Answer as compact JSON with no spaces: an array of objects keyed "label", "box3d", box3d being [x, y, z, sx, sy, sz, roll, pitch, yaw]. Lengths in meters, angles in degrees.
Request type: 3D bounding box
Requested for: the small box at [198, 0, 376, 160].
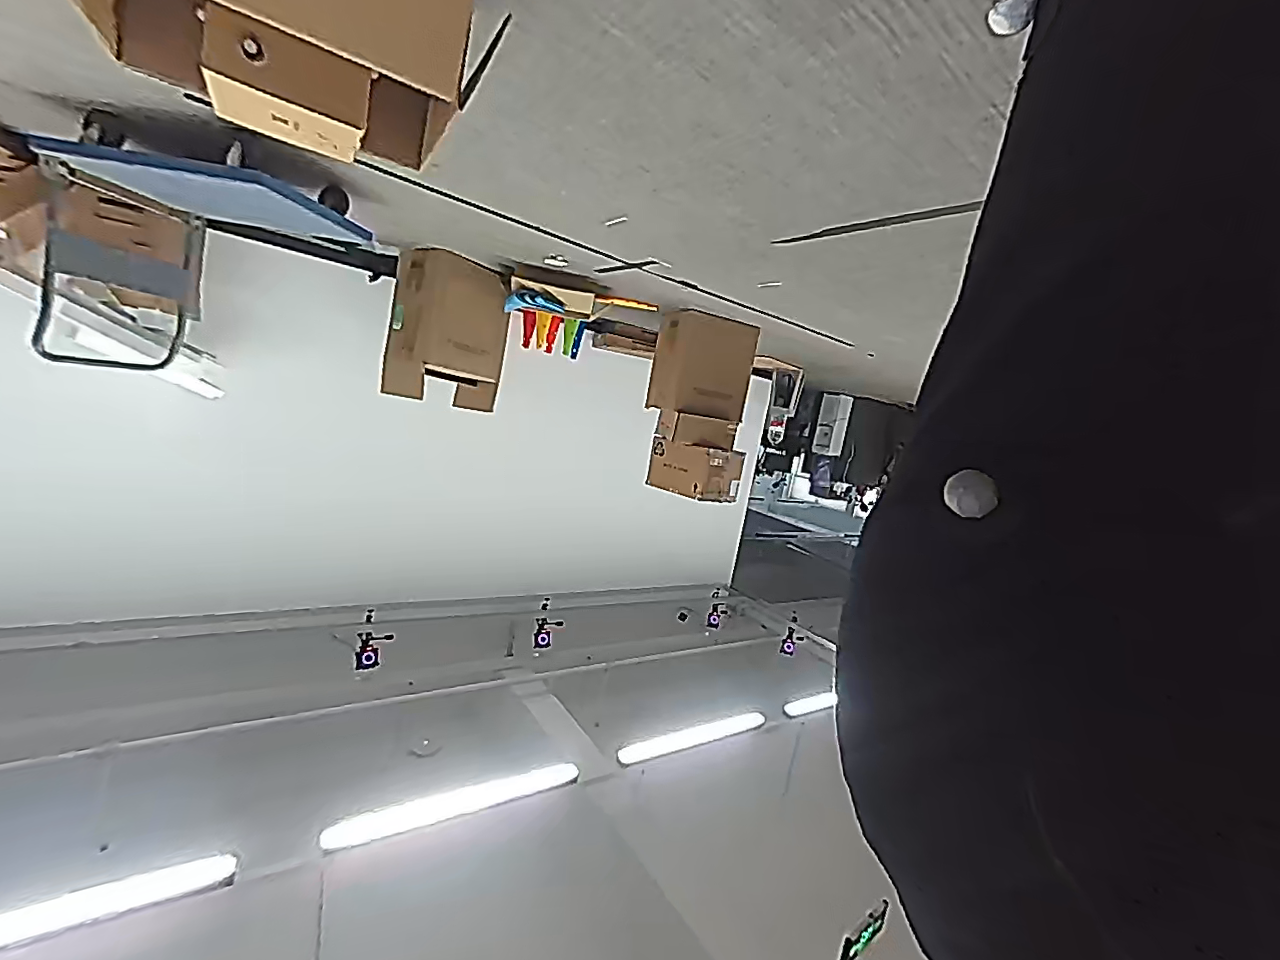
[{"label":"small box","box3d":[-0.473,-0.577,0.733,0.179,0.176,0.168,5,-170,-35]}]
